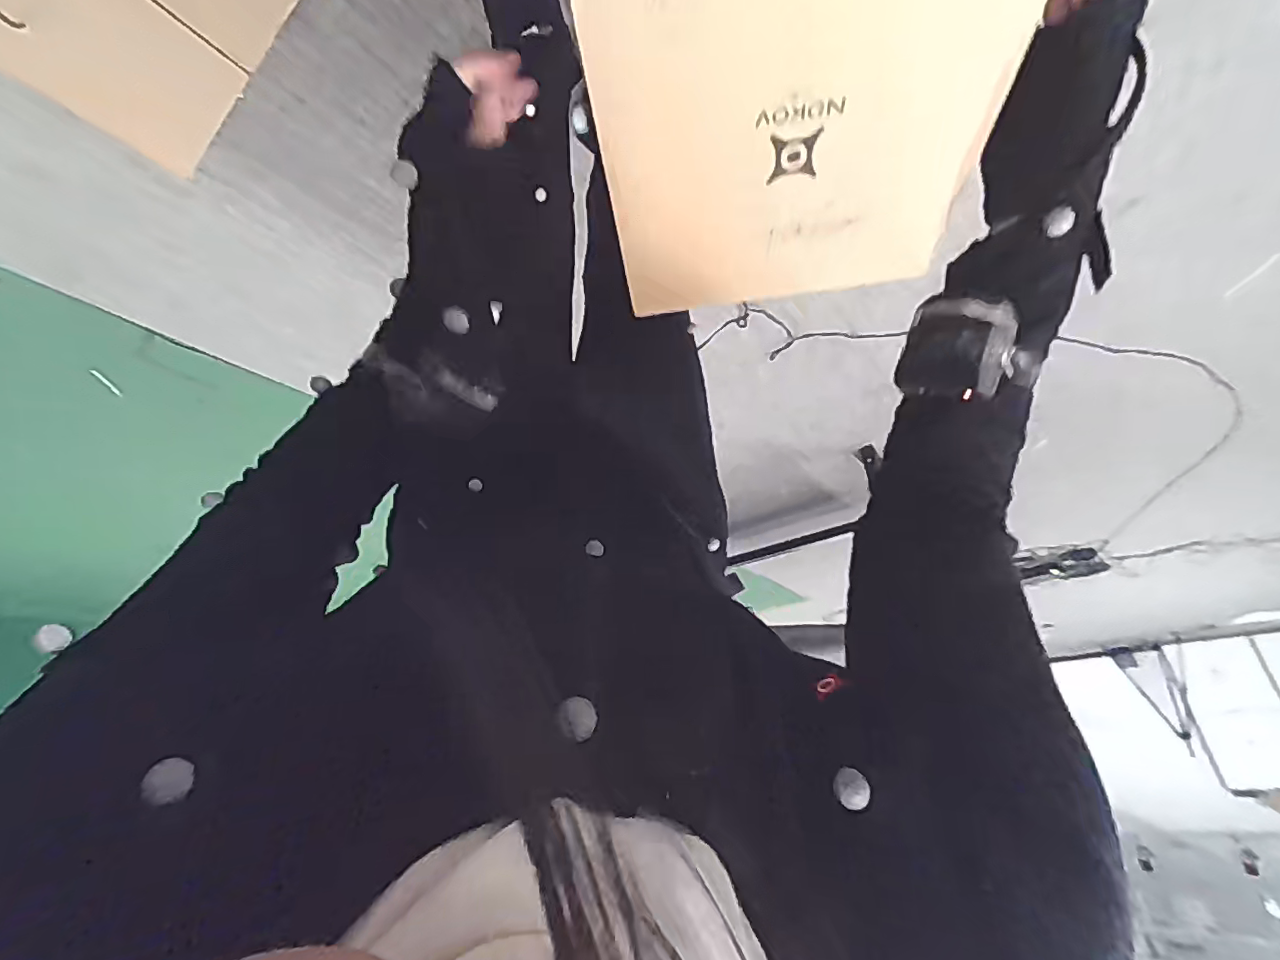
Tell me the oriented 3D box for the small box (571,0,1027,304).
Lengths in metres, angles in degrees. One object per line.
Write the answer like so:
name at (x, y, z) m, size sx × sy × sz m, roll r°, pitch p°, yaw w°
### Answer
small box at (0.060, -0.222, 0.270) m, size 0.168 × 0.176 × 0.179 m, roll -6°, pitch 155°, yaw 7°
